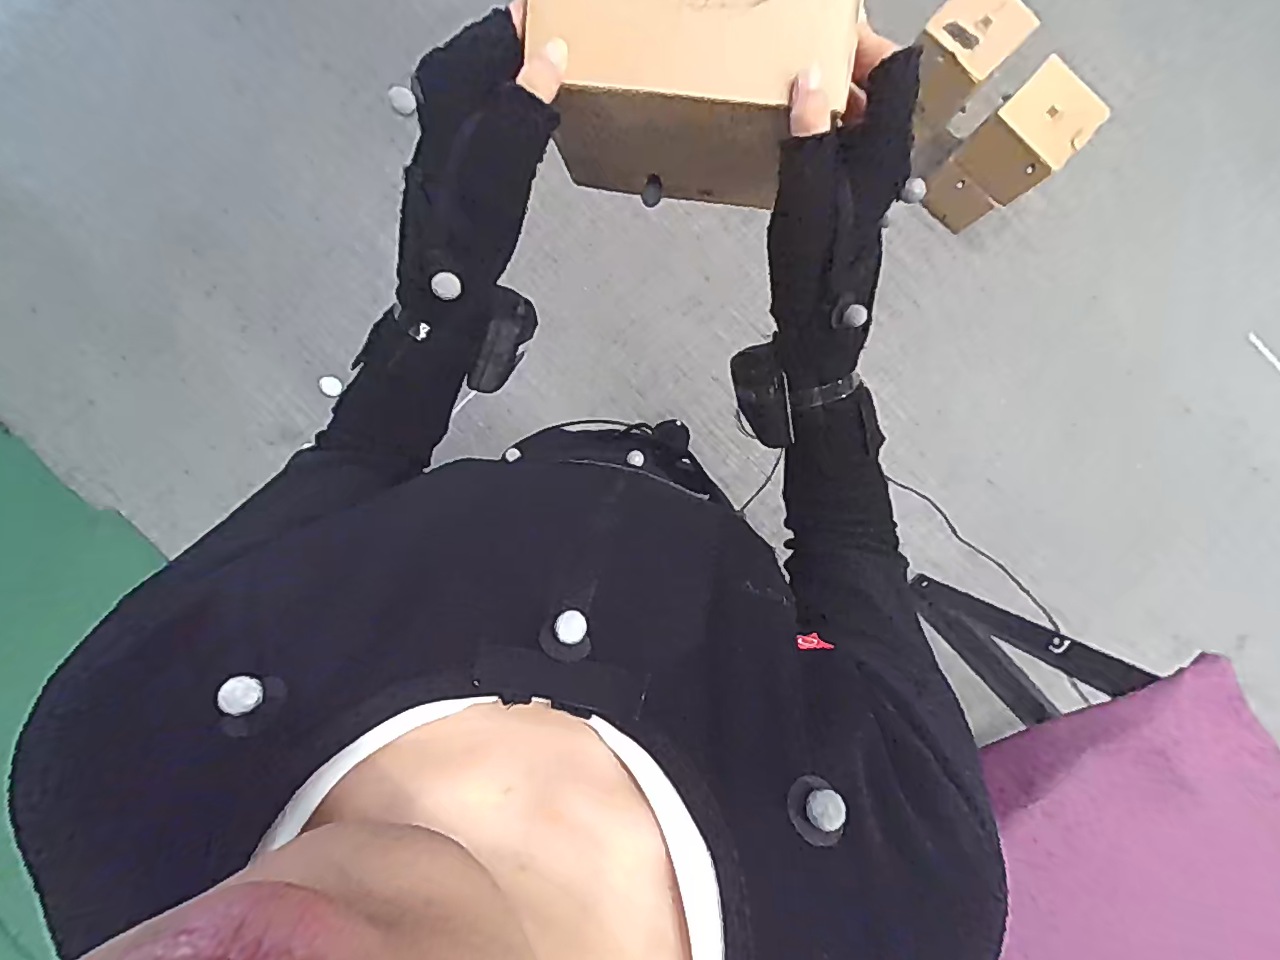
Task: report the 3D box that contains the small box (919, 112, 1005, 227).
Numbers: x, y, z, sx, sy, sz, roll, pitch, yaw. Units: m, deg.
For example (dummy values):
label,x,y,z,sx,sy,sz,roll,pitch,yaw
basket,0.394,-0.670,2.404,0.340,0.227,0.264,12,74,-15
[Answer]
label,x,y,z,sx,sy,sz,roll,pitch,yaw
small box,0.840,-0.773,1.338,0.168,0.176,0.179,43,92,-2

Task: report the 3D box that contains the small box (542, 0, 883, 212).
label,x,y,z,sx,sy,sz,roll,pitch,yaw
small box,0.044,-0.290,0.334,0.168,0.176,0.179,7,102,2

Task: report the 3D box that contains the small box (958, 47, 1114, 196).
label,x,y,z,sx,sy,sz,roll,pitch,yaw
small box,0.845,-0.763,1.175,0.179,0.176,0.168,42,93,-2
